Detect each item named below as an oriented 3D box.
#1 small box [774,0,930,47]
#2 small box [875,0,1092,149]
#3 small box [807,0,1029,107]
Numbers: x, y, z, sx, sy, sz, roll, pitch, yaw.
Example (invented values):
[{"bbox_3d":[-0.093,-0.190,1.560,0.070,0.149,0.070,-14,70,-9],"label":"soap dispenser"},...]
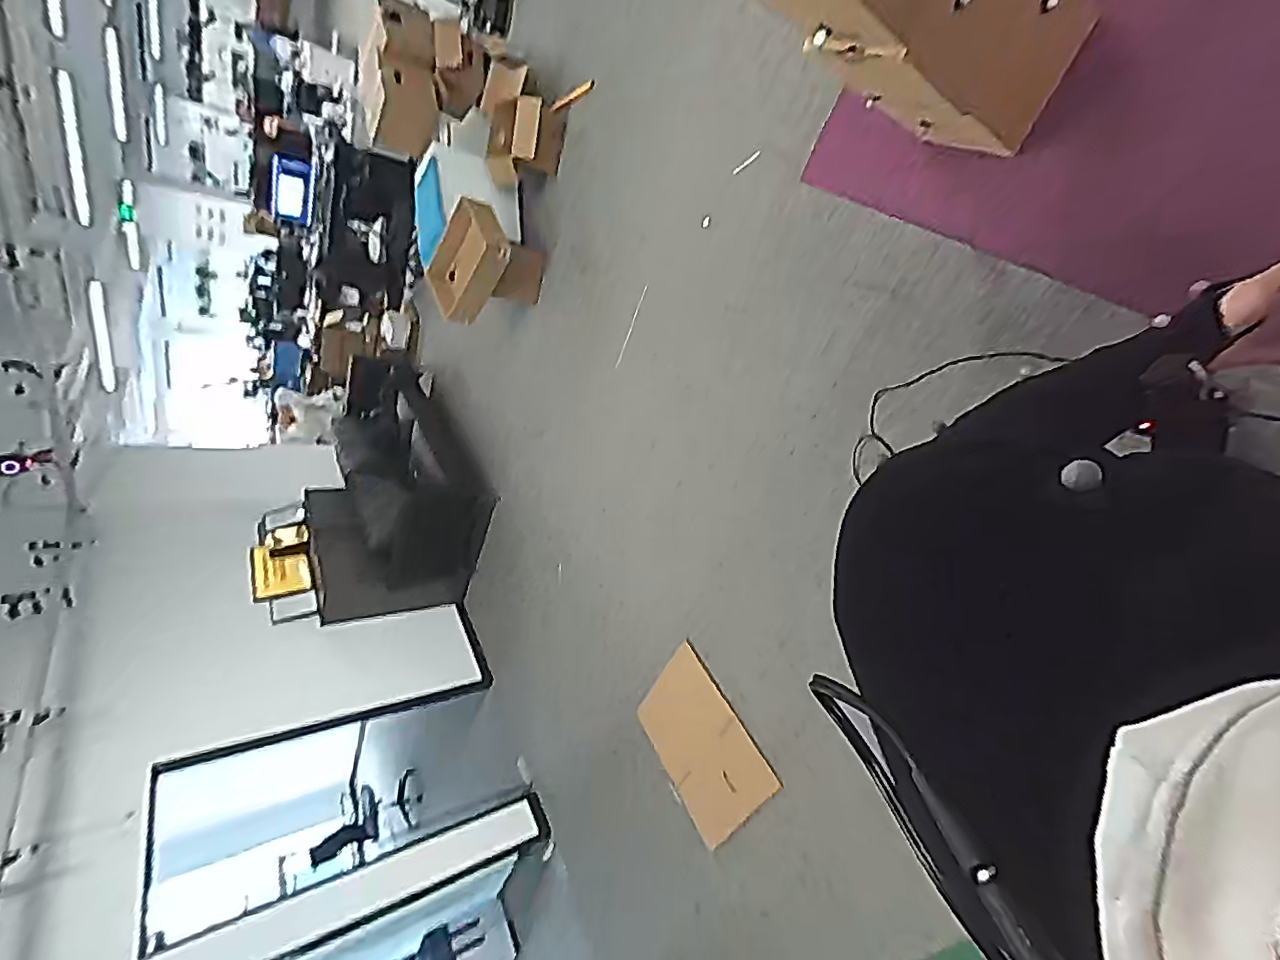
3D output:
[{"bbox_3d":[0.225,-0.595,0.559,0.168,0.176,0.179,50,128,40],"label":"small box"},{"bbox_3d":[0.482,-0.598,0.763,0.168,0.176,0.179,49,127,40],"label":"small box"},{"bbox_3d":[0.351,-0.593,0.663,0.168,0.176,0.179,49,127,40],"label":"small box"}]
